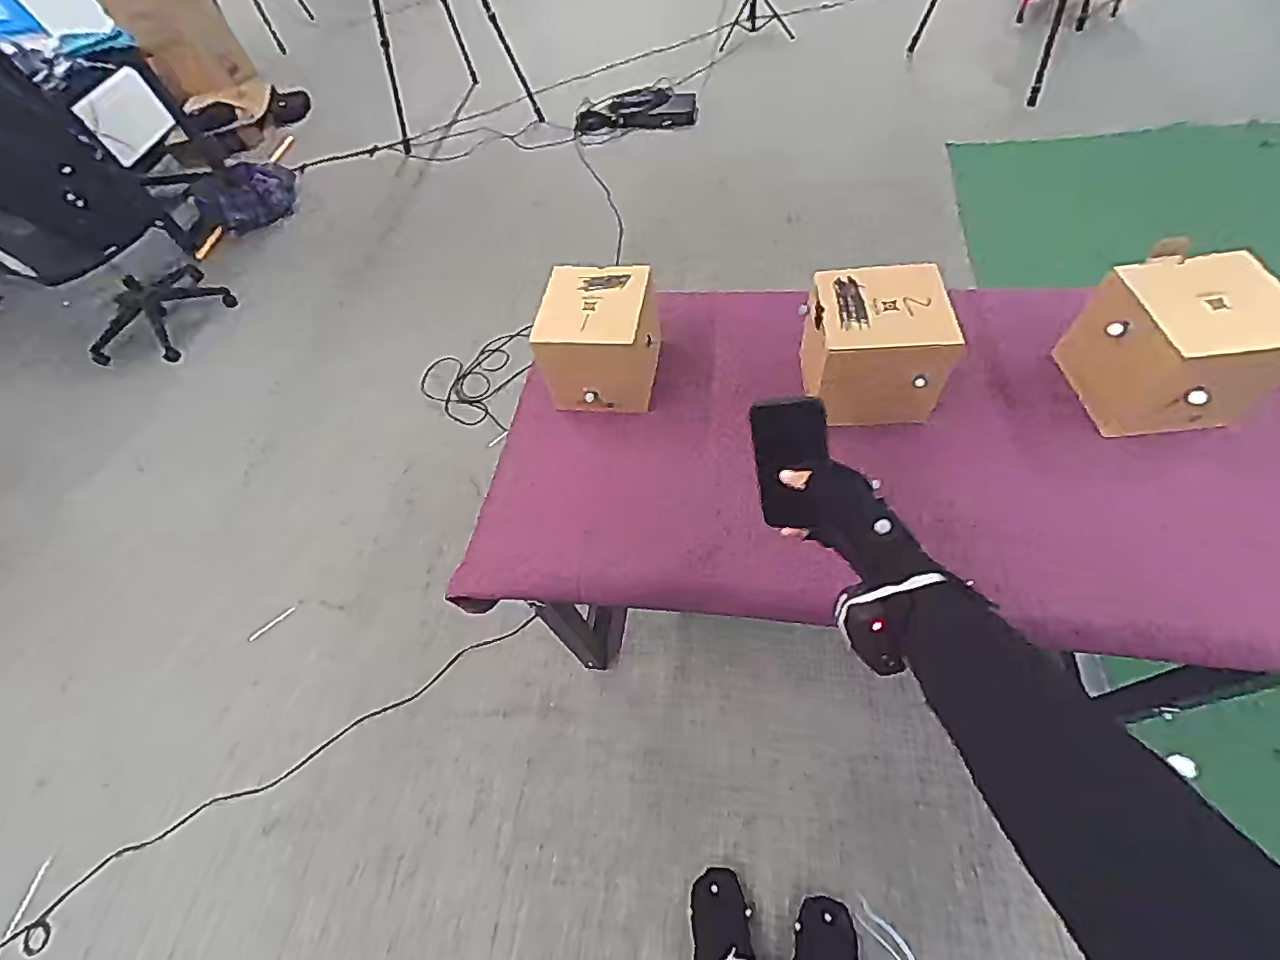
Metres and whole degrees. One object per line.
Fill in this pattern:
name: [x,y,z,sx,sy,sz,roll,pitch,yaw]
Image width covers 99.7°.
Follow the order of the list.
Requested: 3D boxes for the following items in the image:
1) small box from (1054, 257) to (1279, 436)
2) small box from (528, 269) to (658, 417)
small box: [0.731,-0.174,0.749,0.168,0.176,0.179,-6,56,6]
small box: [-0.066,-0.228,0.906,0.168,0.176,0.179,4,60,12]
